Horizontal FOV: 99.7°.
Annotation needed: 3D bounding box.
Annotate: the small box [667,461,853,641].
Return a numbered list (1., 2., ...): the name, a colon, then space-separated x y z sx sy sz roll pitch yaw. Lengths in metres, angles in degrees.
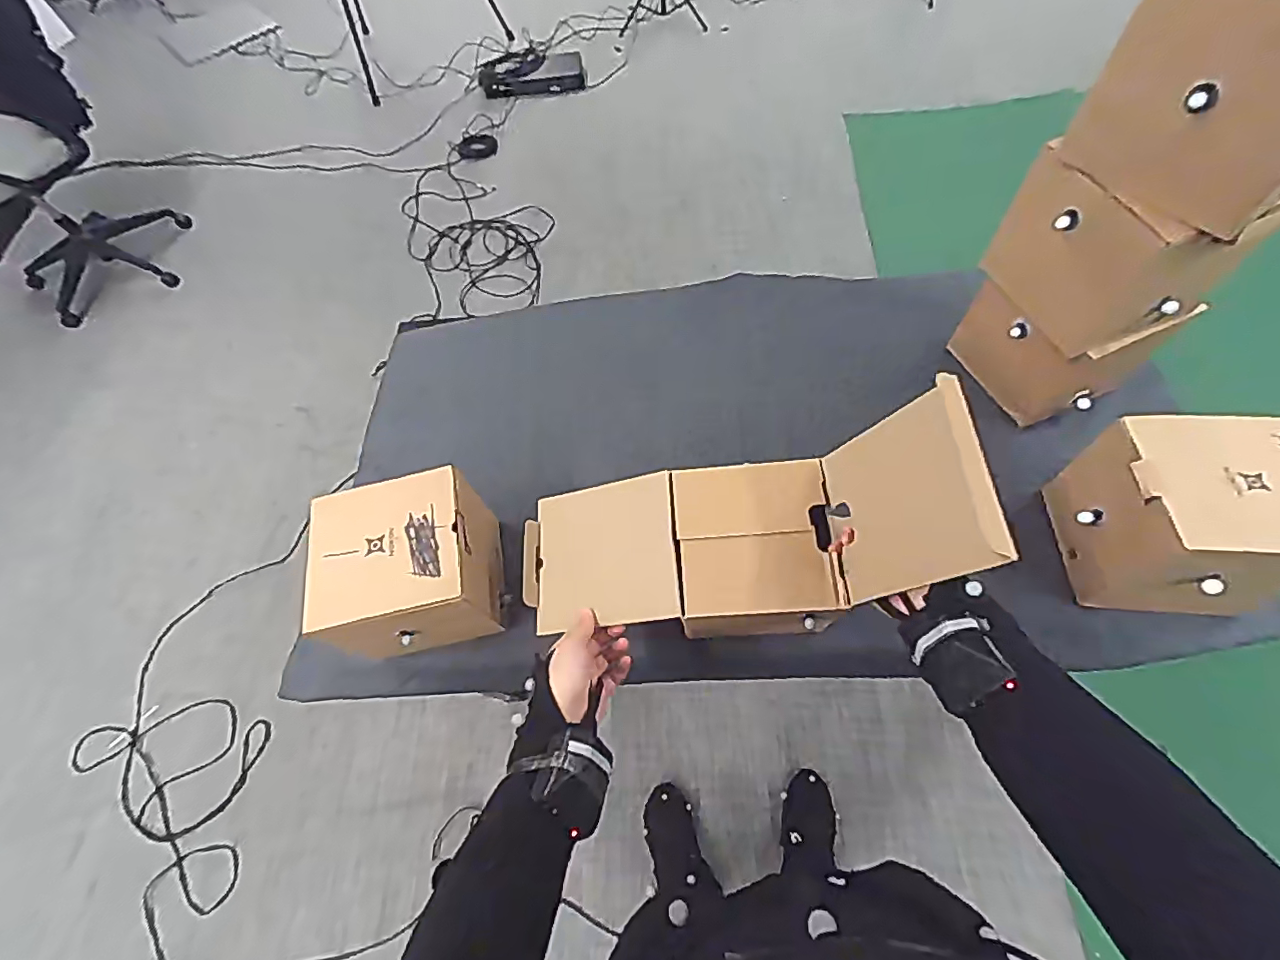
1. small box: 0.130 0.093 0.641 0.179 0.176 0.168 -5 66 5

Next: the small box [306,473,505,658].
1. small box: -0.277 0.114 0.677 0.179 0.176 0.168 -13 63 0

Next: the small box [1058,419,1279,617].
1. small box: 0.615 0.048 0.608 0.179 0.176 0.168 2 59 8

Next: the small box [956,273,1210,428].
1. small box: 0.583 -0.204 0.747 0.168 0.176 0.179 -23 64 -3

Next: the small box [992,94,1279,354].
1. small box: 0.544 -0.276 0.603 0.168 0.176 0.179 -21 63 -1
